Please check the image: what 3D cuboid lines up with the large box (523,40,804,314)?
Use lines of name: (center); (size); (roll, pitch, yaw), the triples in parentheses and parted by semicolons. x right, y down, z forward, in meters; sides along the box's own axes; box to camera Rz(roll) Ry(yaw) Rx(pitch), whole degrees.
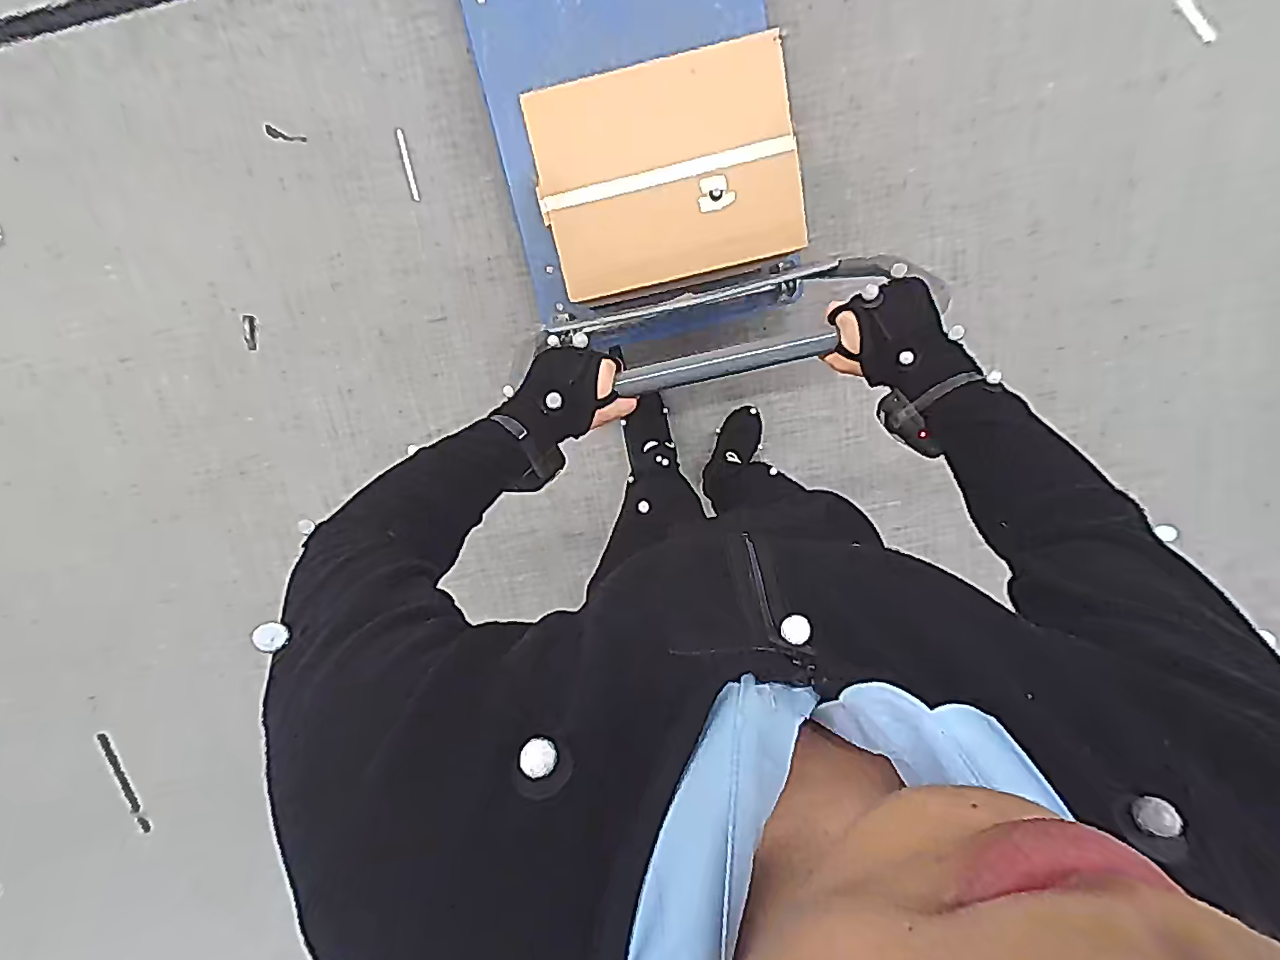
large box: (0.041, -0.511, 1.000); (0.408, 0.320, 0.320); (-13, 106, 2)
